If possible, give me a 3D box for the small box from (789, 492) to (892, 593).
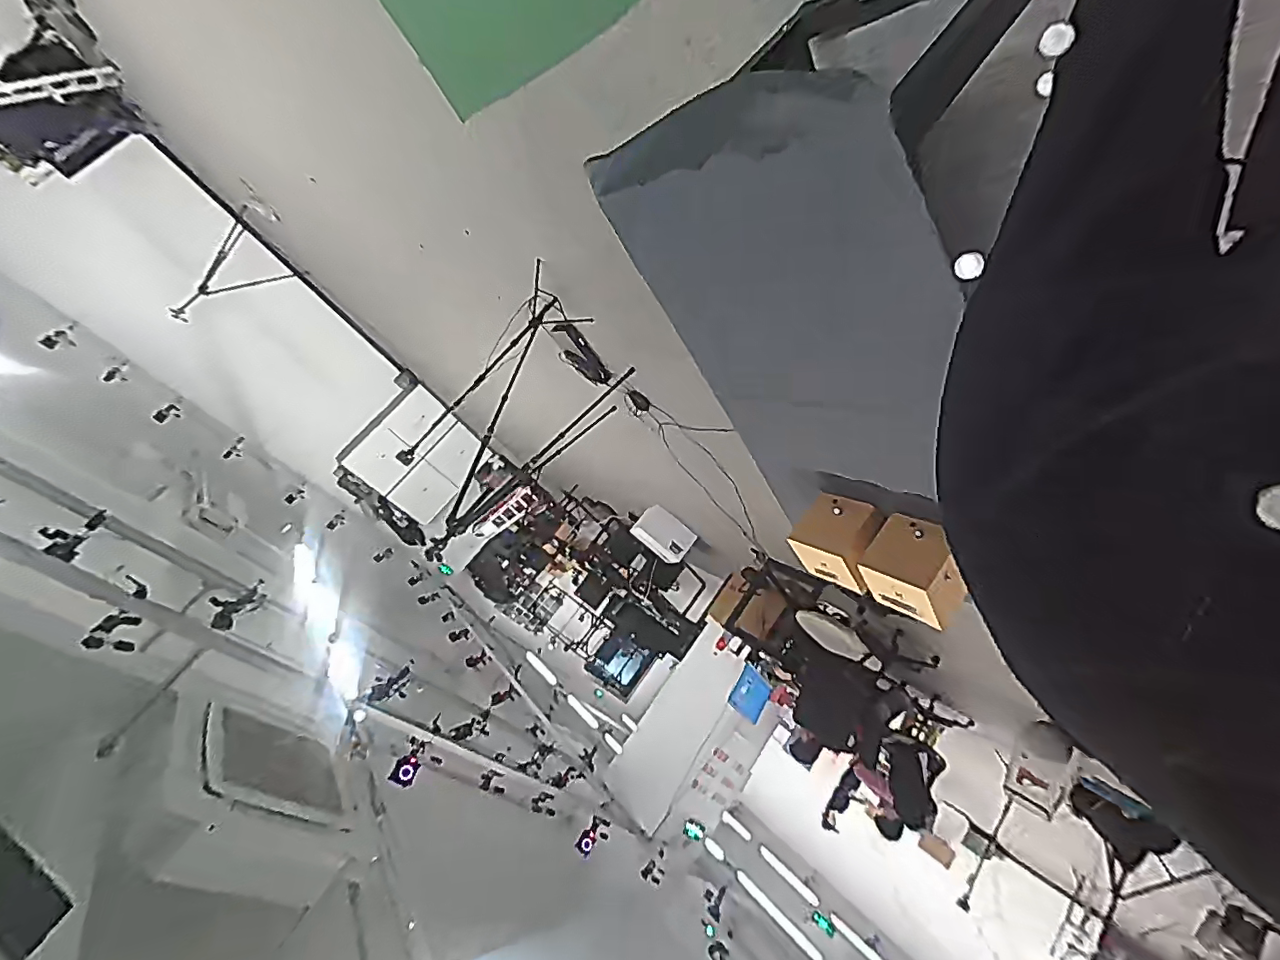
[{"bbox_3d":[0.531,0.160,1.416,0.168,0.176,0.179,19,155,52],"label":"small box"}]
